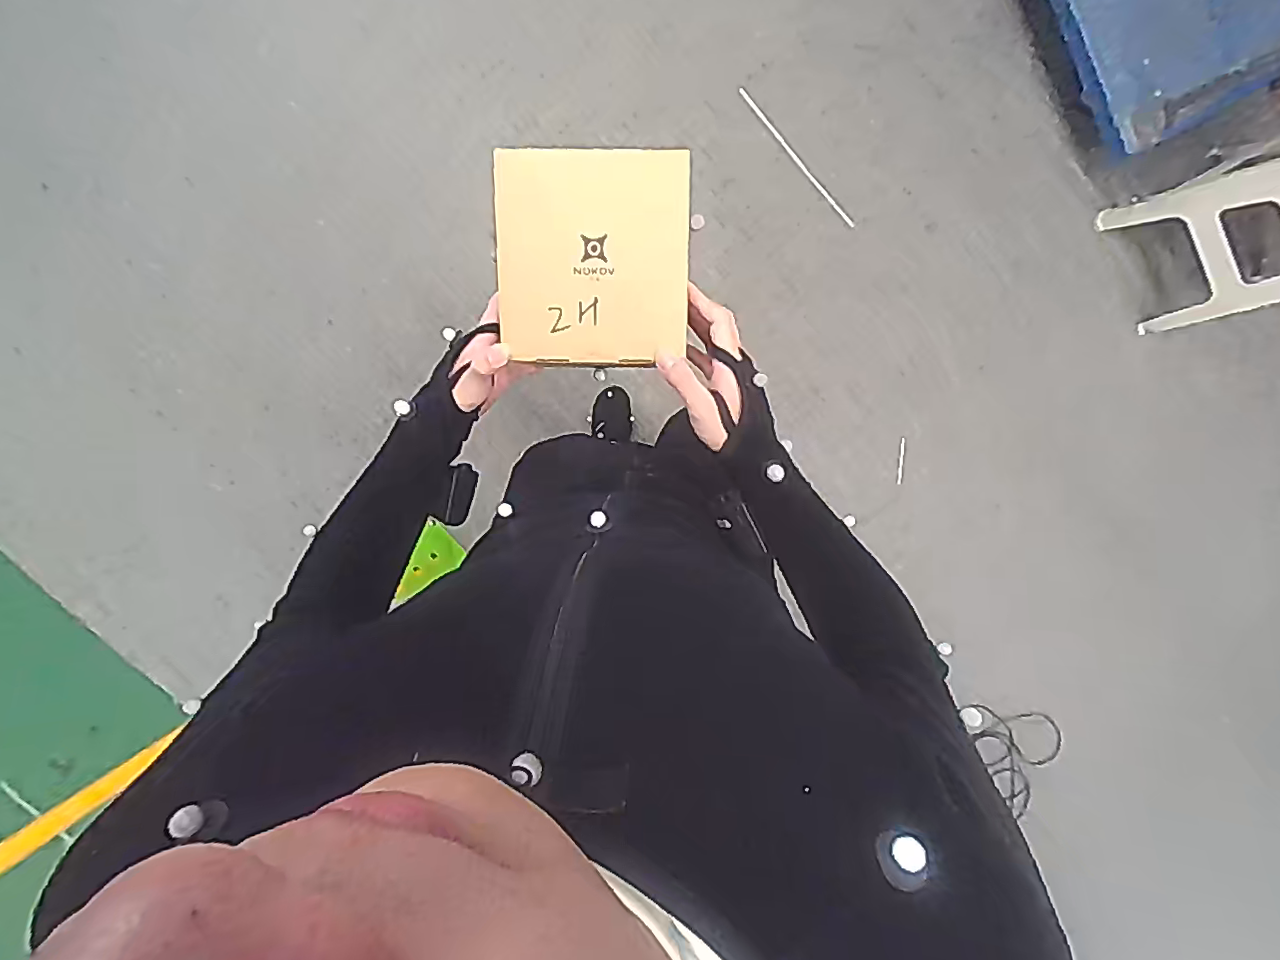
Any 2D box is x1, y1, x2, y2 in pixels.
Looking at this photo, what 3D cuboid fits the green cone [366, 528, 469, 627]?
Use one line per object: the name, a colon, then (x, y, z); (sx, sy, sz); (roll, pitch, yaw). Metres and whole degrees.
green cone: (-0.642, 0.299, 1.457); (0.200, 0.368, 0.202); (-41, 98, 6)
